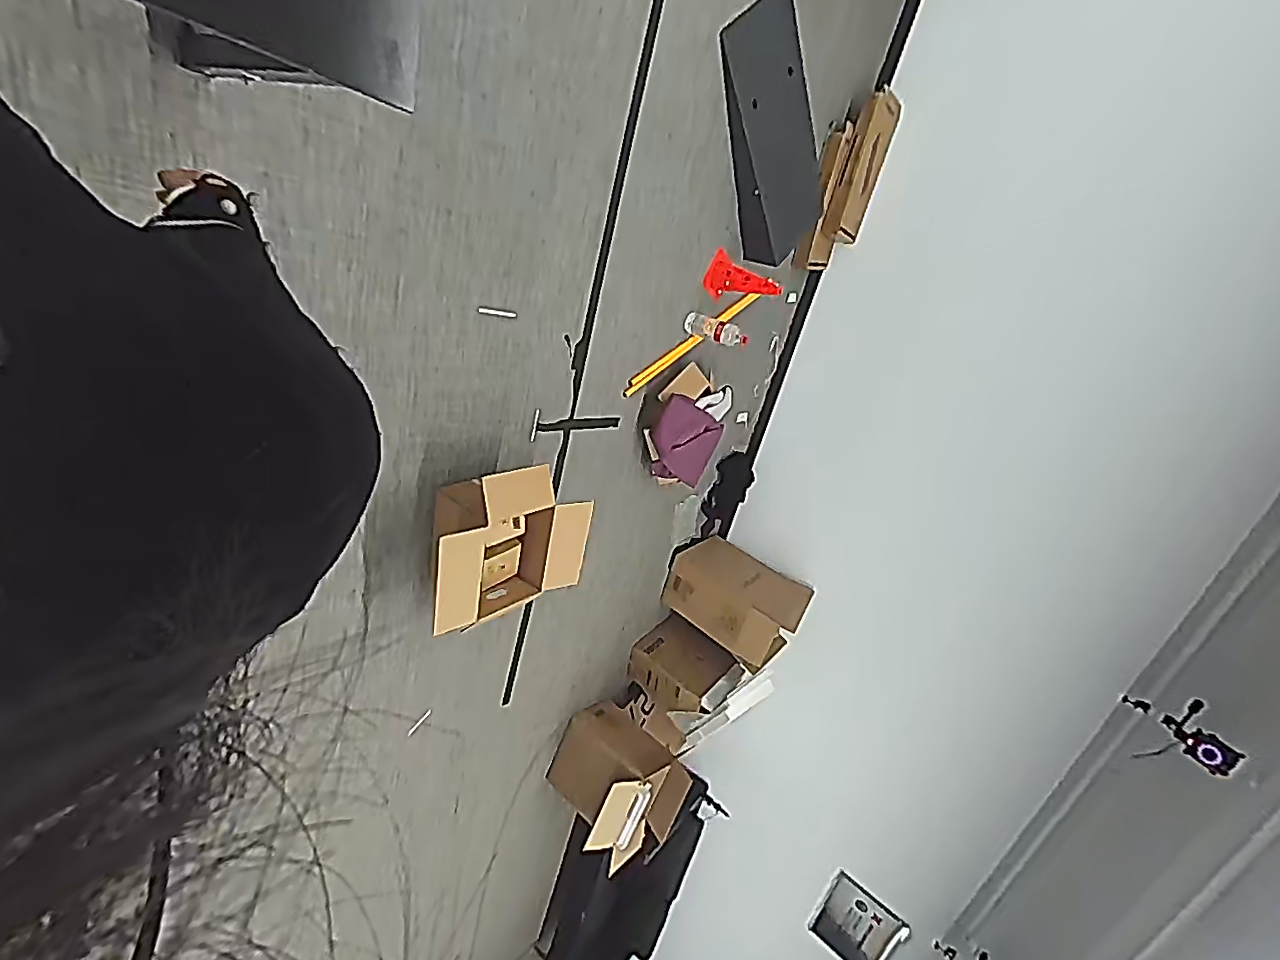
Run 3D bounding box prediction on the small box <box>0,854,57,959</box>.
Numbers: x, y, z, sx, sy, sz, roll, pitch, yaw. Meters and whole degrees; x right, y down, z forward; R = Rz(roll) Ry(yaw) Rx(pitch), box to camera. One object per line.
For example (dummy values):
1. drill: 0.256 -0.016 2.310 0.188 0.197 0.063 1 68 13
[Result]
1. small box: -1.535 1.050 1.285 0.179 0.176 0.168 -9 120 -51
